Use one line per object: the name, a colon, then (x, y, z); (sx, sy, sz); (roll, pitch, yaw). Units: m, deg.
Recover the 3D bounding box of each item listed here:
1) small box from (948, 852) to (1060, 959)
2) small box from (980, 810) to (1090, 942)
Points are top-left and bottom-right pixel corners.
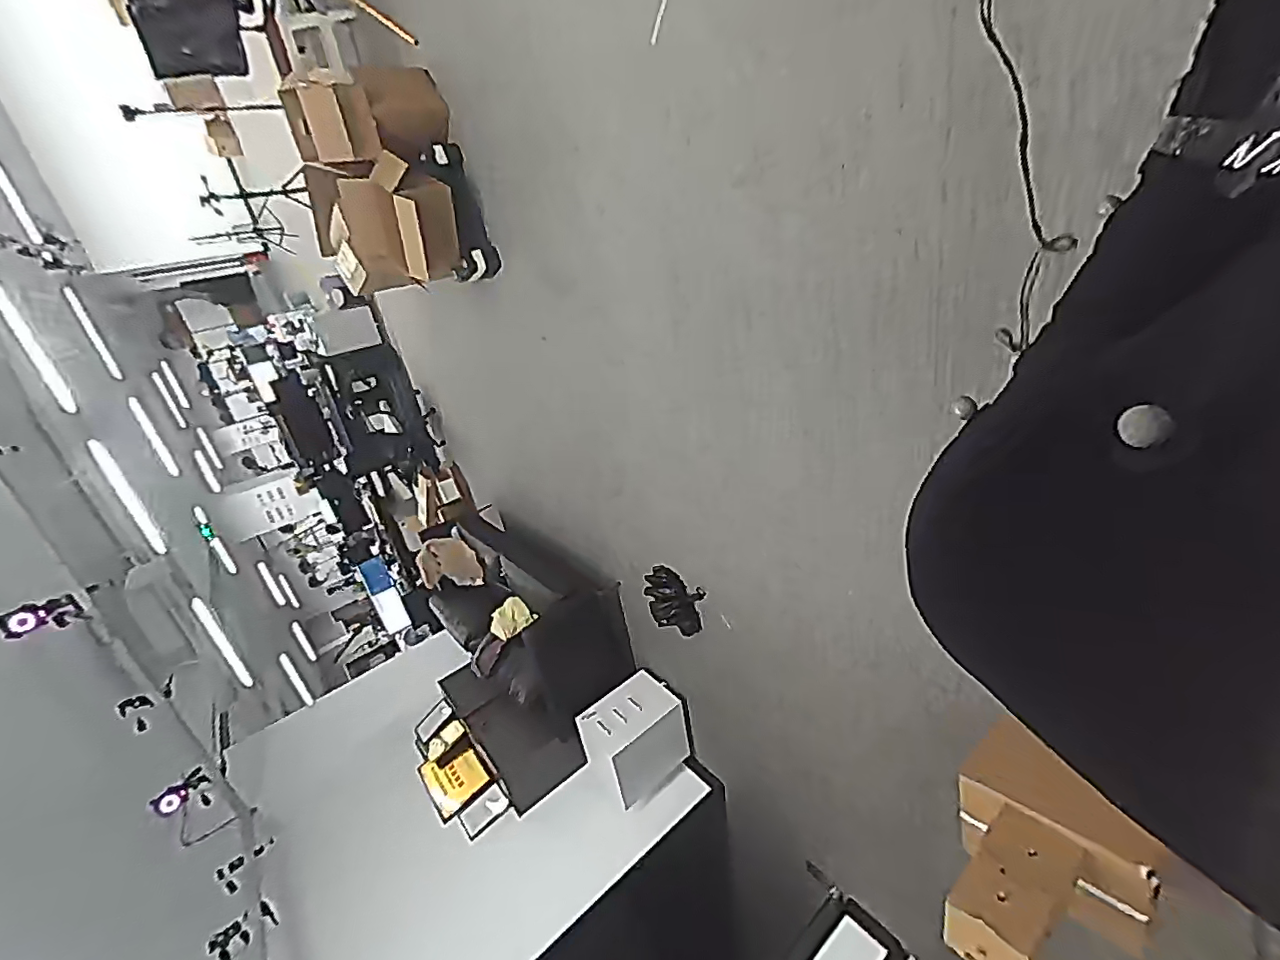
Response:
small box: (0.843, 1.023, 1.253); (0.168, 0.176, 0.179); (18, 126, 50)
small box: (0.968, 0.962, 1.337); (0.179, 0.176, 0.168); (18, 126, 49)
